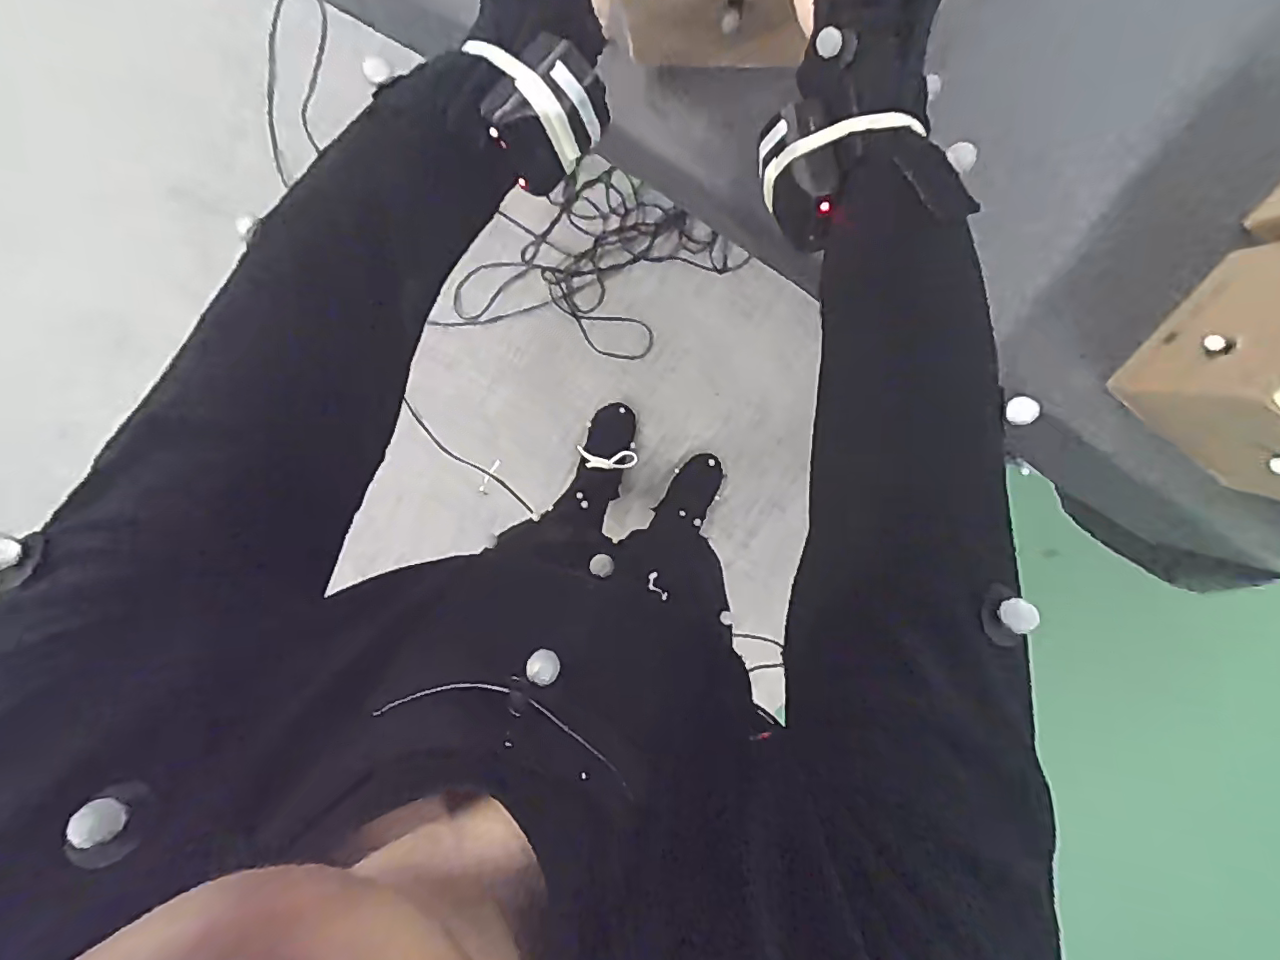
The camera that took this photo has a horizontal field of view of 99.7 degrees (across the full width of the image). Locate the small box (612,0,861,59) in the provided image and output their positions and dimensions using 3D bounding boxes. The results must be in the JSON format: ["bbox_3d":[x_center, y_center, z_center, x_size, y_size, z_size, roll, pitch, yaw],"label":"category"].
[{"bbox_3d":[0.072,-0.417,0.373,0.179,0.176,0.168,4,113,4],"label":"small box"}]
